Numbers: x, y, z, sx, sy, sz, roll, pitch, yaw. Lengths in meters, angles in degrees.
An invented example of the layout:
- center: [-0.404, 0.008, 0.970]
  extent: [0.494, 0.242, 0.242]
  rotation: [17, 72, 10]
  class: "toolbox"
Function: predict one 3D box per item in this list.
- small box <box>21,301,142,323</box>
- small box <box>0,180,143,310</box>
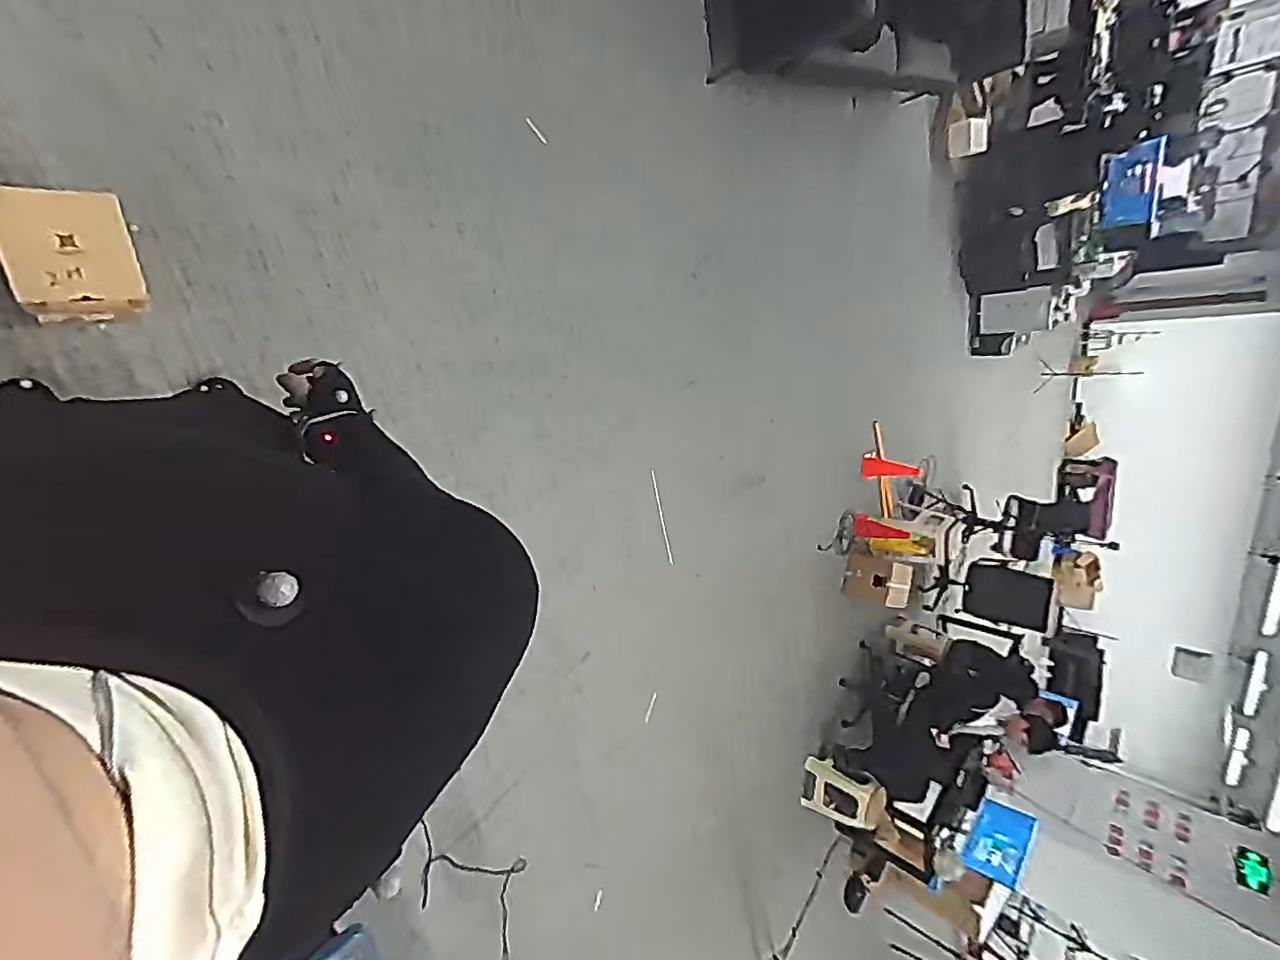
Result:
- center: [-1.117, -0.408, 1.058]
  extent: [0.168, 0.176, 0.179]
  rotation: [-25, 114, -40]
  class: "small box"
- center: [-1.003, -0.398, 0.939]
  extent: [0.168, 0.176, 0.179]
  rotation: [-19, 110, -41]
  class: "small box"
